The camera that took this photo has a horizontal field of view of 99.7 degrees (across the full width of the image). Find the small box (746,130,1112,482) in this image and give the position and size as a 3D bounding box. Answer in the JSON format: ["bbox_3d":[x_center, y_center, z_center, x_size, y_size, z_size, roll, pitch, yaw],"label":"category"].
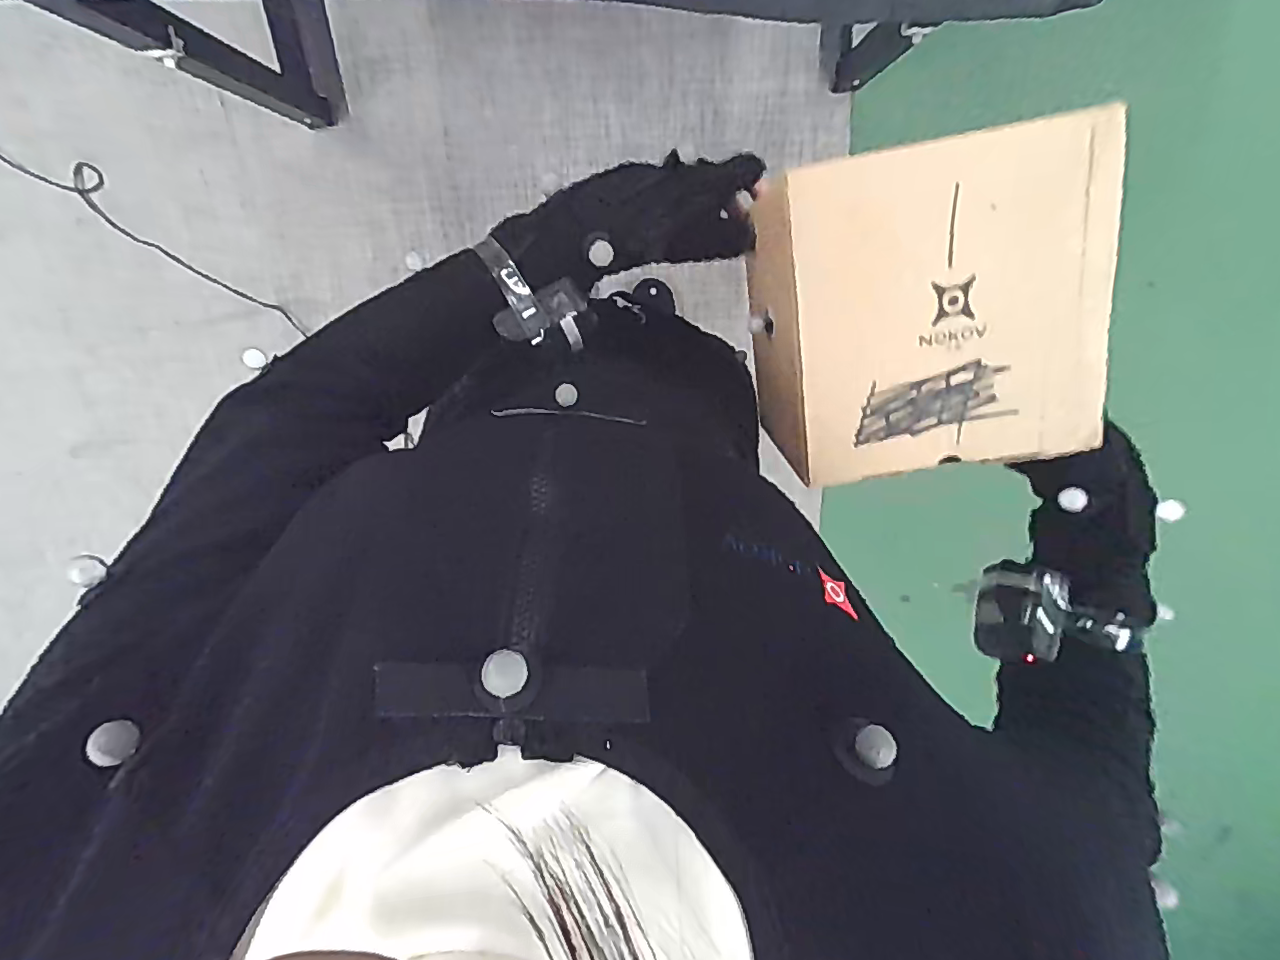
[{"bbox_3d":[0.173,-0.113,0.382,0.168,0.176,0.179,-7,107,4],"label":"small box"}]
